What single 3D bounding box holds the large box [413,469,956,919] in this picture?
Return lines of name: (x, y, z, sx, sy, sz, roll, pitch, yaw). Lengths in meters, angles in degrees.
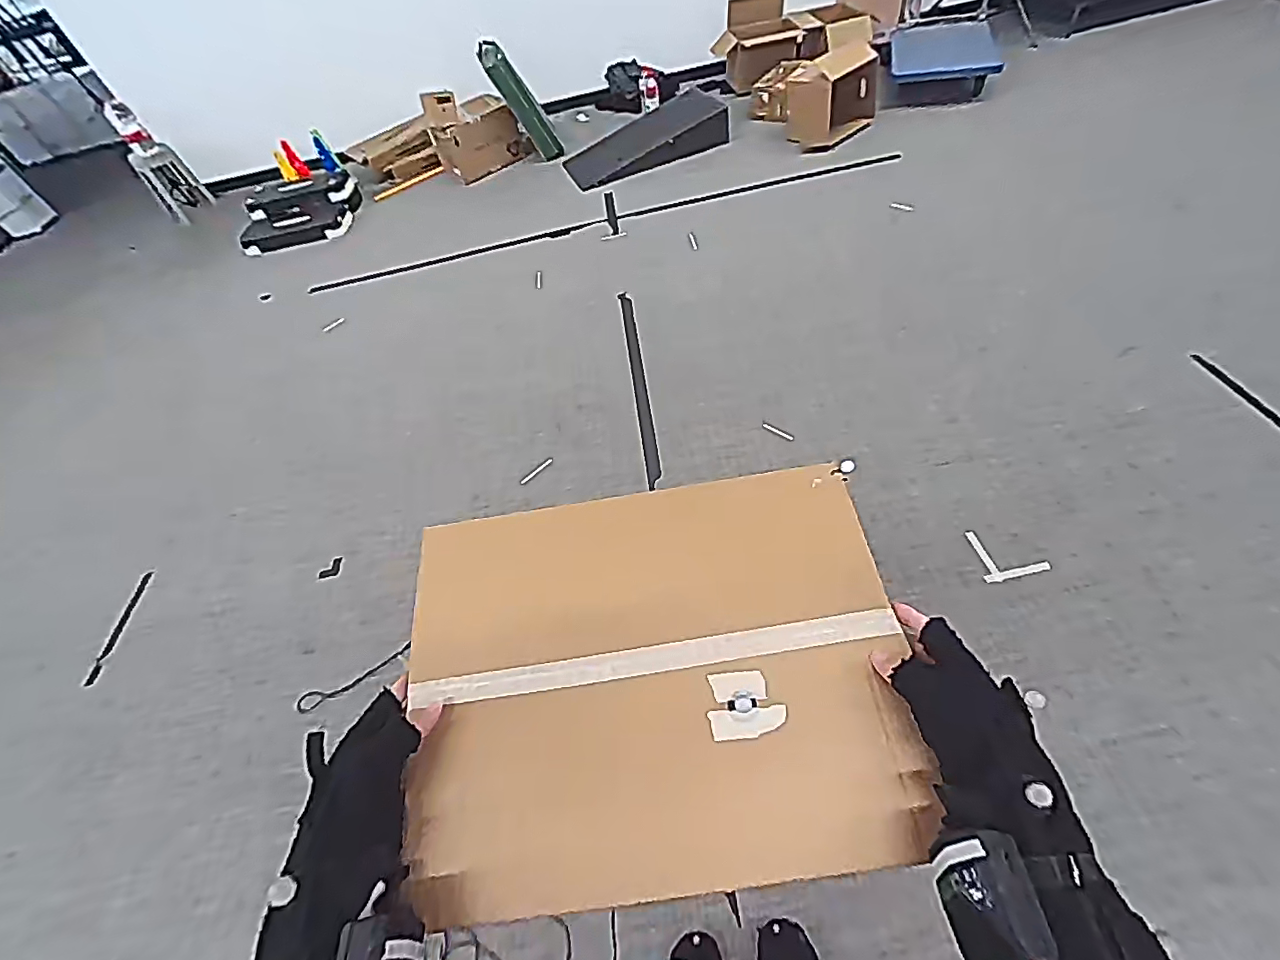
large box: (0.023, 0.226, 0.587, 0.408, 0.320, 0.320, -9, 60, 0)
